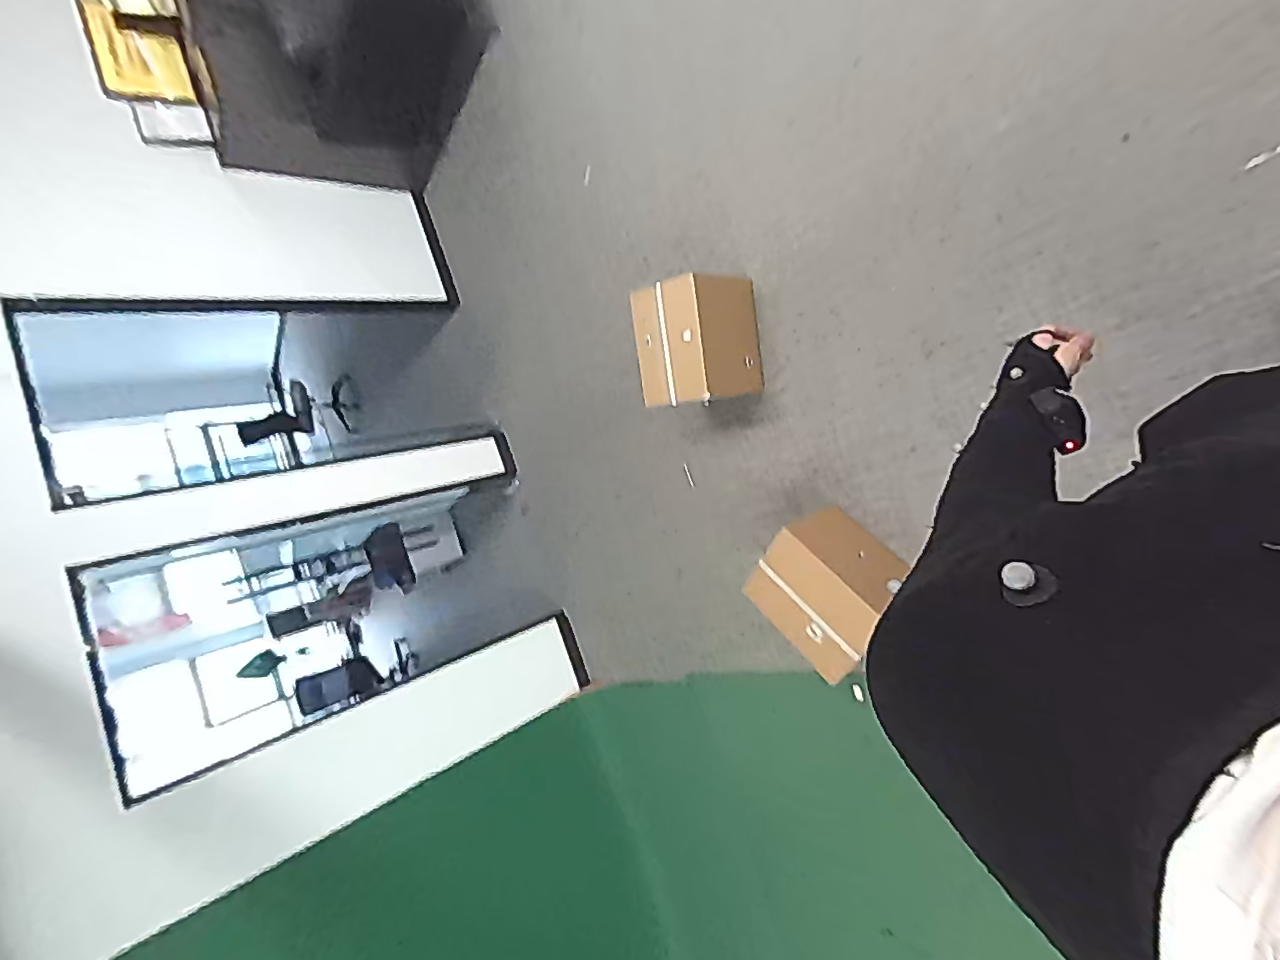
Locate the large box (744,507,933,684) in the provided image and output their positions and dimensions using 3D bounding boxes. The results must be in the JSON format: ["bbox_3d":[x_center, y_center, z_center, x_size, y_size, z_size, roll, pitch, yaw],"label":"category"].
[{"bbox_3d":[0.621,0.349,1.727,0.408,0.320,0.320,45,133,29],"label":"large box"}]
